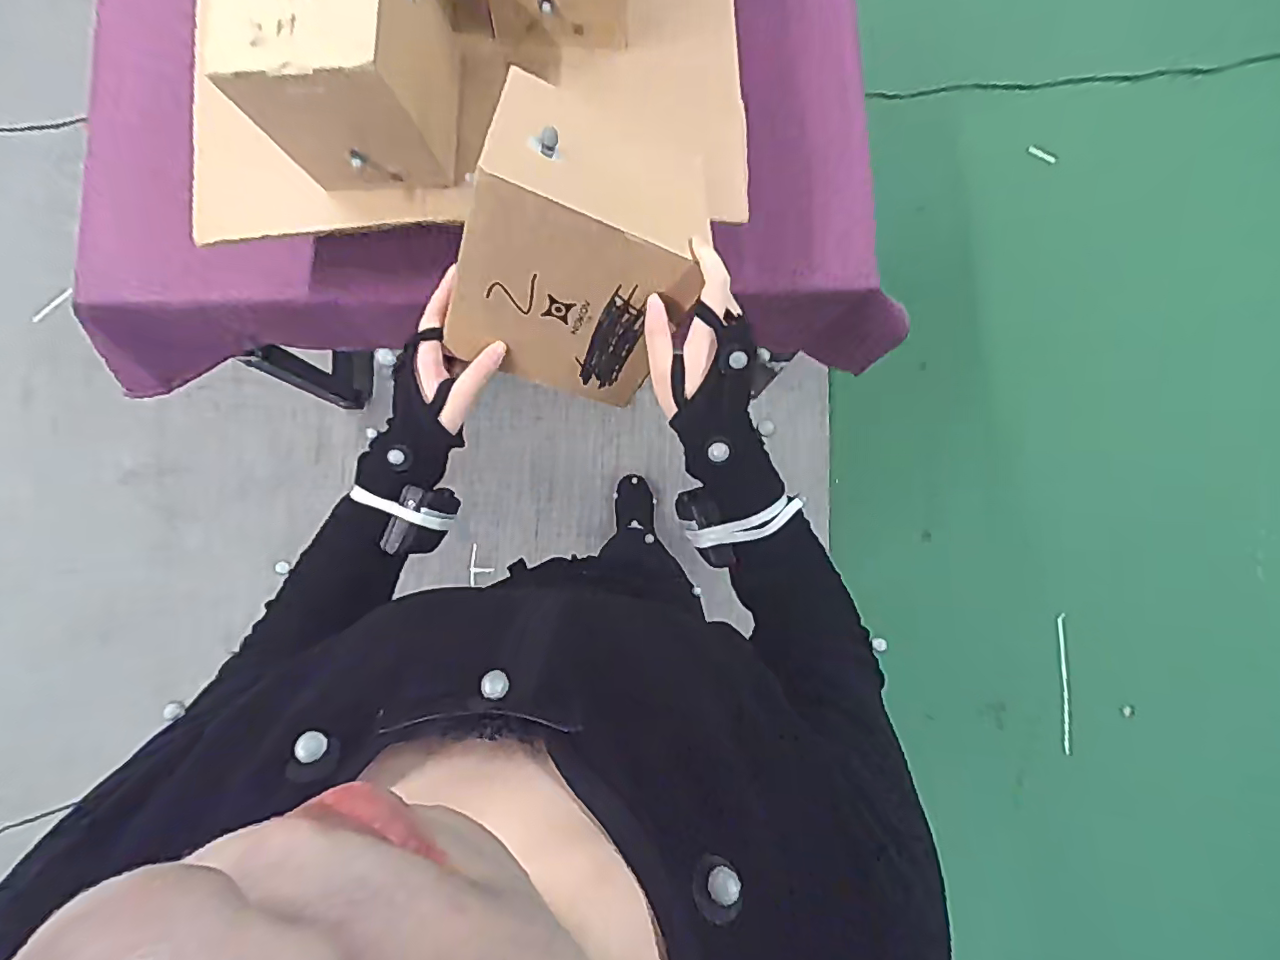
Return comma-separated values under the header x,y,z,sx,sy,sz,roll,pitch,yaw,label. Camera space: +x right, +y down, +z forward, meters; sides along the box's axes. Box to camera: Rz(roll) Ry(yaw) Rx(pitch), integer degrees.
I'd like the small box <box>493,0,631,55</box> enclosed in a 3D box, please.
x,y,z,sx,sy,sz,roll,pitch,yaw,label
-0.090,-0.637,0.611,0.168,0.176,0.179,0,85,-4,small box
